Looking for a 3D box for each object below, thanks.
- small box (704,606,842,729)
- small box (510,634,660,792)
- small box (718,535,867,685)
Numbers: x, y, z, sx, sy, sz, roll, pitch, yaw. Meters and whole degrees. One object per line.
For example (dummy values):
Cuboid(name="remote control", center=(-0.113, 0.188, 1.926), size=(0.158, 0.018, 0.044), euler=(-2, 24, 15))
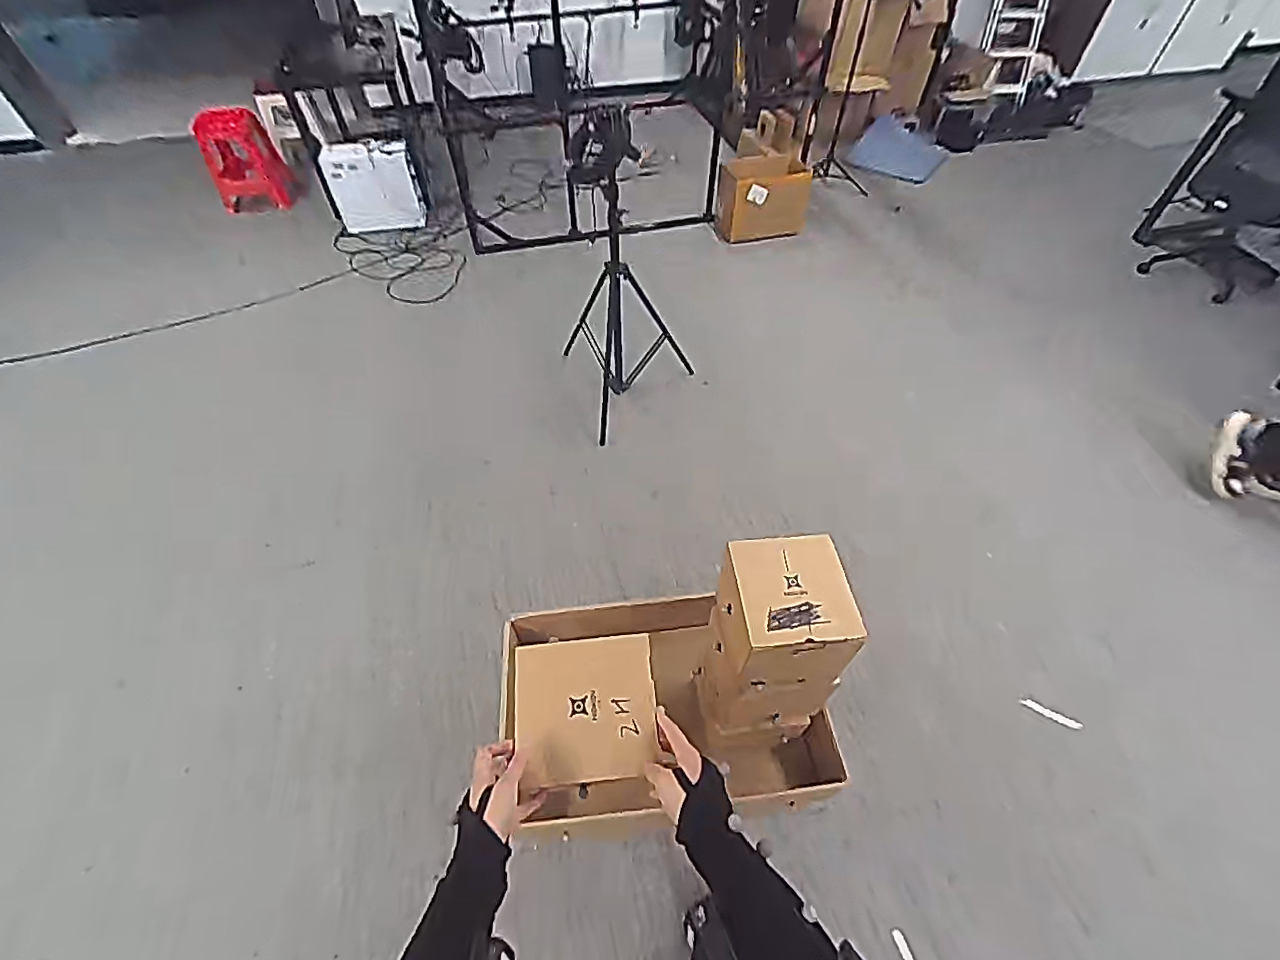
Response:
Cuboid(name="small box", center=(0.224, 0.324, 0.959), size=(0.179, 0.176, 0.168), euler=(-6, 50, -7))
Cuboid(name="small box", center=(-0.068, 0.316, 0.724), size=(0.179, 0.176, 0.168), euler=(-4, 60, -3))
Cuboid(name="small box", center=(0.223, 0.208, 0.841), size=(0.168, 0.176, 0.179), euler=(-3, 50, -4))
